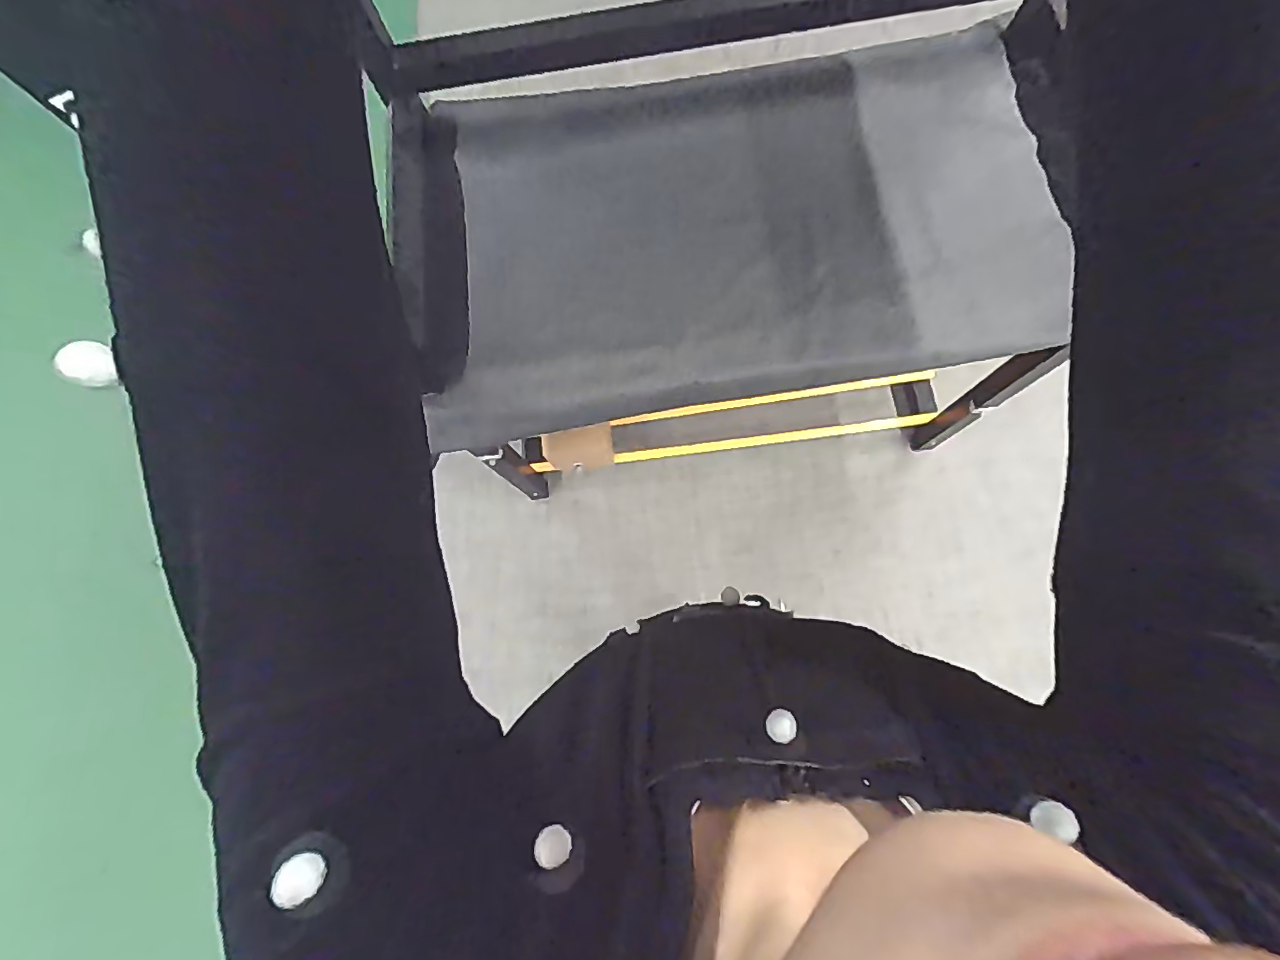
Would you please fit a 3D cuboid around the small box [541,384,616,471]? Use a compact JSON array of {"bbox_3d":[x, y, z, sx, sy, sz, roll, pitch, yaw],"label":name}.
[{"bbox_3d":[-0.160,-0.135,1.439,0.168,0.176,0.179,-8,77,3],"label":"small box"}]
